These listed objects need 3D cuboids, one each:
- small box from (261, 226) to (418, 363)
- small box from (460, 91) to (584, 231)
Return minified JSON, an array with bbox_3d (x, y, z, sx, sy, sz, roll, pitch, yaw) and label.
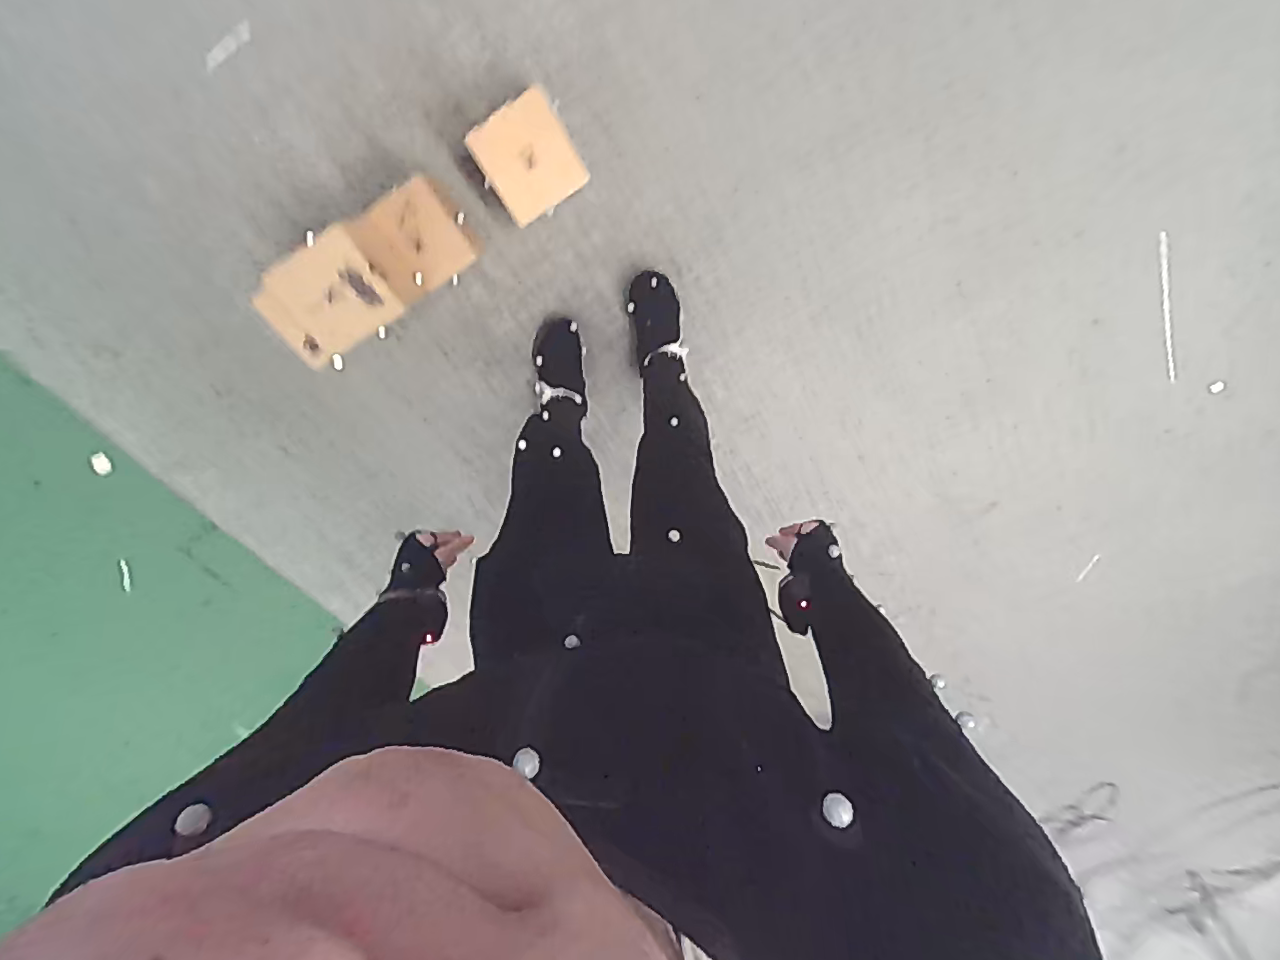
[{"bbox_3d":[-0.539,-0.350,1.004,0.179,0.176,0.168,-29,118,9],"label":"small box"},{"bbox_3d":[-0.225,-0.631,1.079,0.168,0.176,0.179,-30,118,10],"label":"small box"}]
